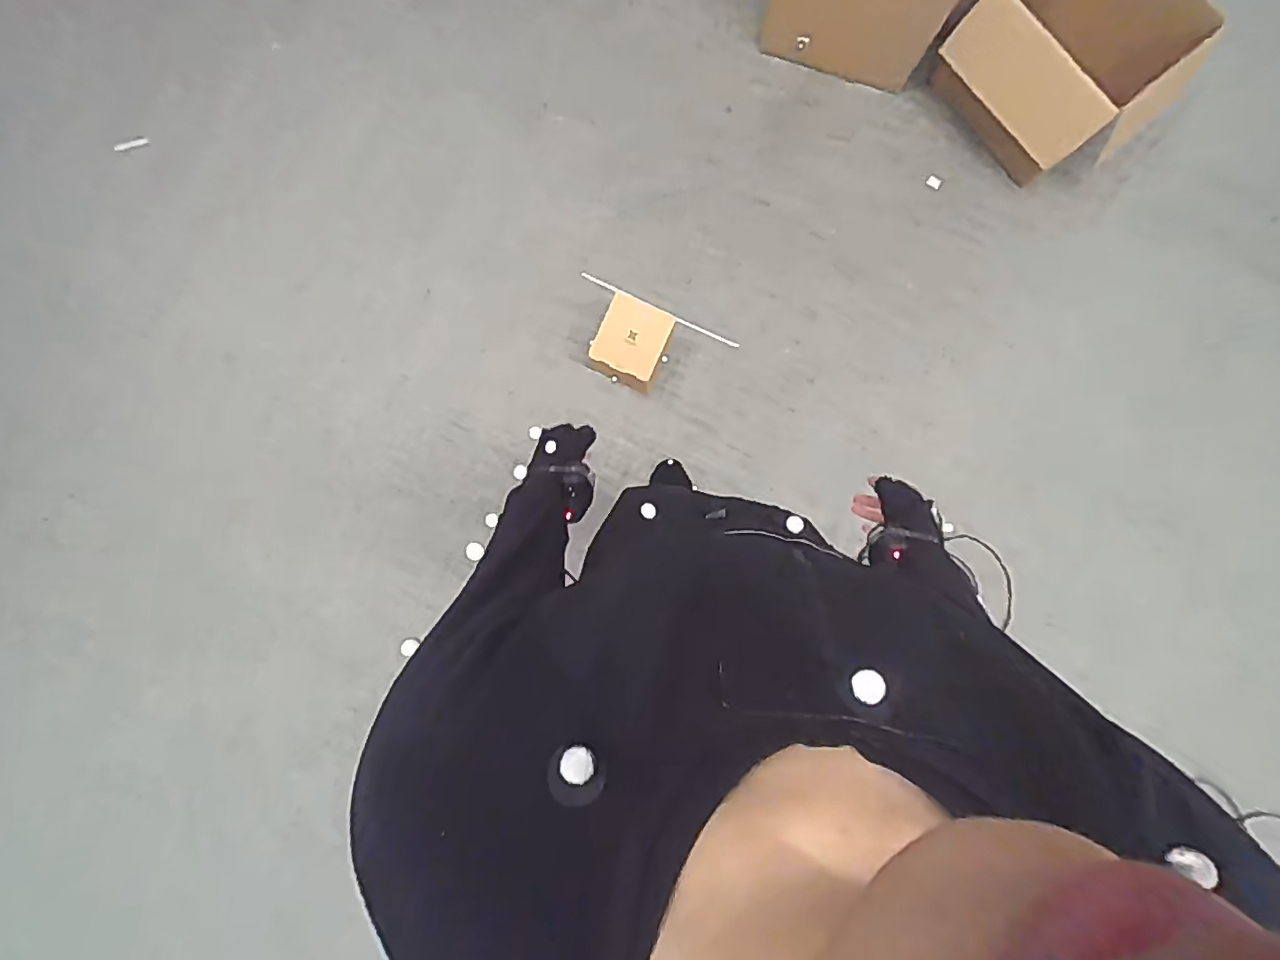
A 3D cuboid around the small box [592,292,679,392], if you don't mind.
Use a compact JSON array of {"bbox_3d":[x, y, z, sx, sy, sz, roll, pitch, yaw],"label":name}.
[{"bbox_3d":[-0.010,-0.348,1.398,0.168,0.176,0.179,24,90,2],"label":"small box"}]
